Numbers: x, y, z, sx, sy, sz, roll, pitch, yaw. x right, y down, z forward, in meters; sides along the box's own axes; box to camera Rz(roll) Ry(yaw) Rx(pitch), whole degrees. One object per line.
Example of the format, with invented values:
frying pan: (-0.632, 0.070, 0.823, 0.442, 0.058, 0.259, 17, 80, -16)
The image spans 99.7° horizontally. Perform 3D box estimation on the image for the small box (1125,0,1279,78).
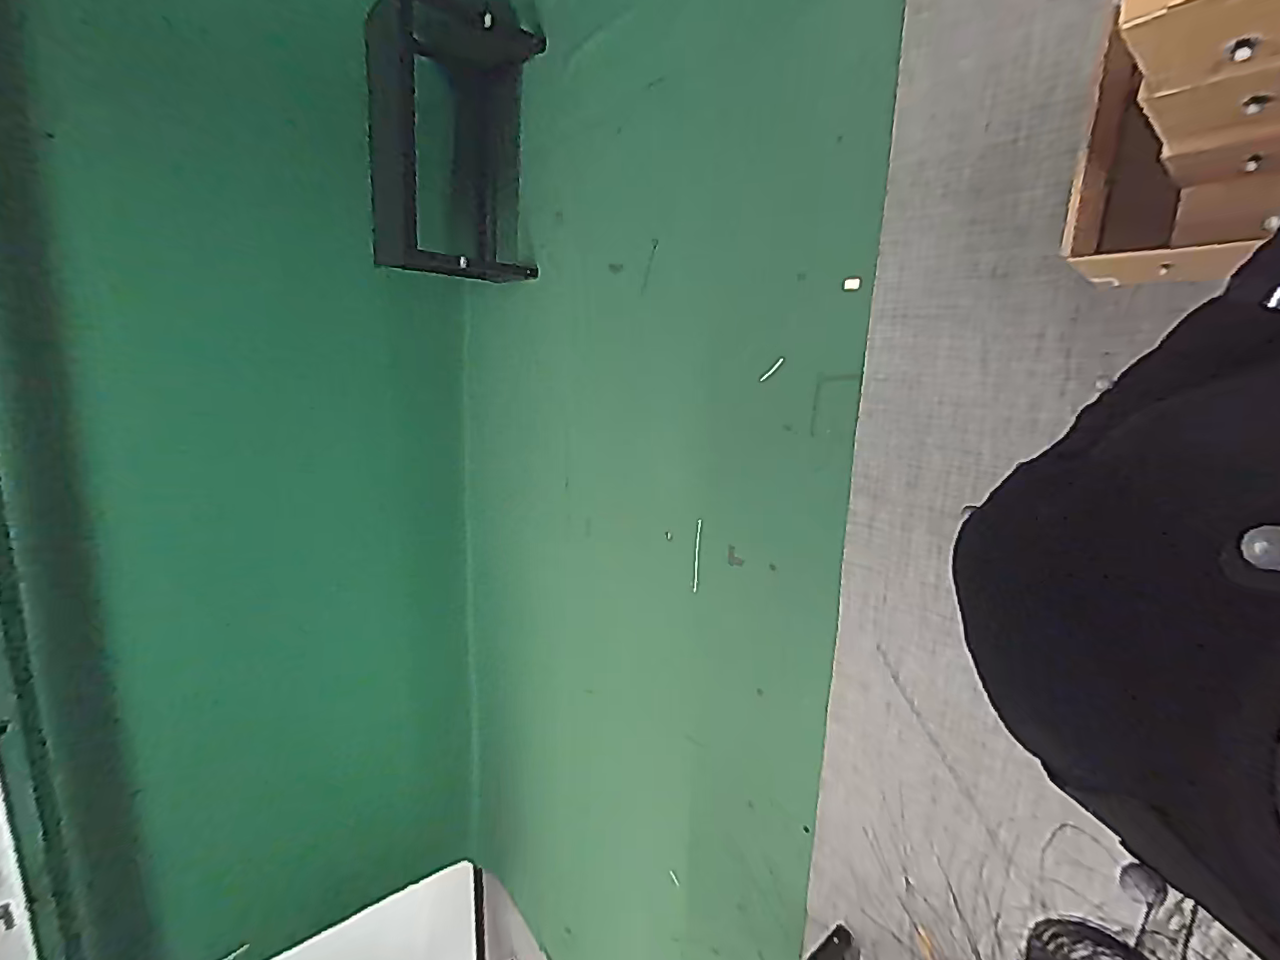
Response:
small box: (0.535, -0.481, 0.441, 0.168, 0.176, 0.179, 14, 106, 50)
